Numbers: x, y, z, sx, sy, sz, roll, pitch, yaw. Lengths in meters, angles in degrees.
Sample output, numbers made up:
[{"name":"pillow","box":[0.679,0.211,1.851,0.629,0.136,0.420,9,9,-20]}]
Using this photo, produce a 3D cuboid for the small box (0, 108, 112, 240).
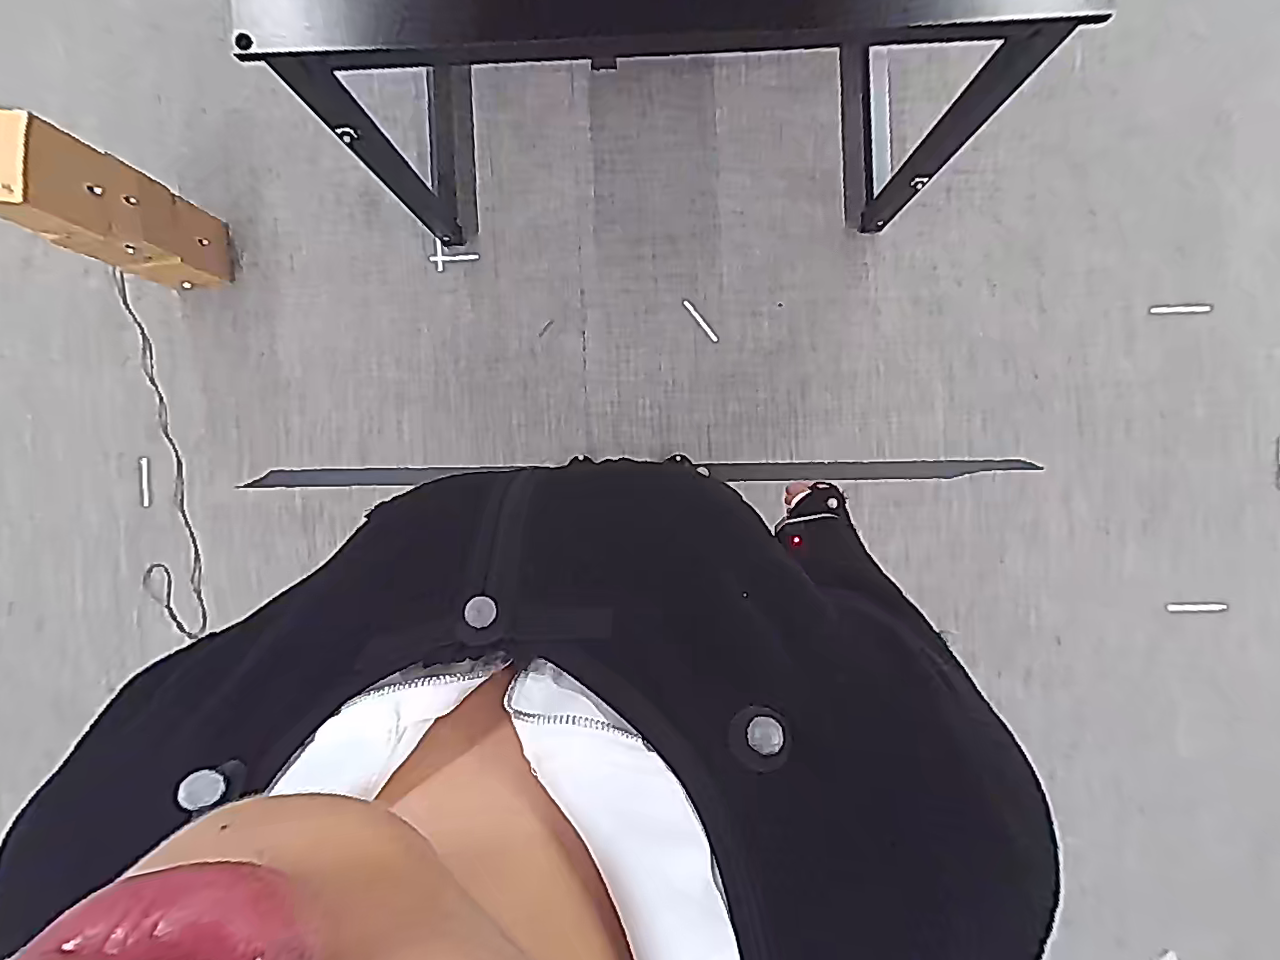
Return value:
[{"name":"small box","box":[-1.232,-0.616,1.095,0.168,0.176,0.179,6,91,1]}]

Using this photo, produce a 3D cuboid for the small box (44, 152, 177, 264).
[{"name":"small box","box":[-1.231,-0.621,1.259,0.168,0.176,0.179,-8,90,1]}]

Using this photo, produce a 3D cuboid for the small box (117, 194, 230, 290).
[{"name":"small box","box":[-1.225,-0.620,1.421,0.168,0.176,0.179,-5,92,2]}]
